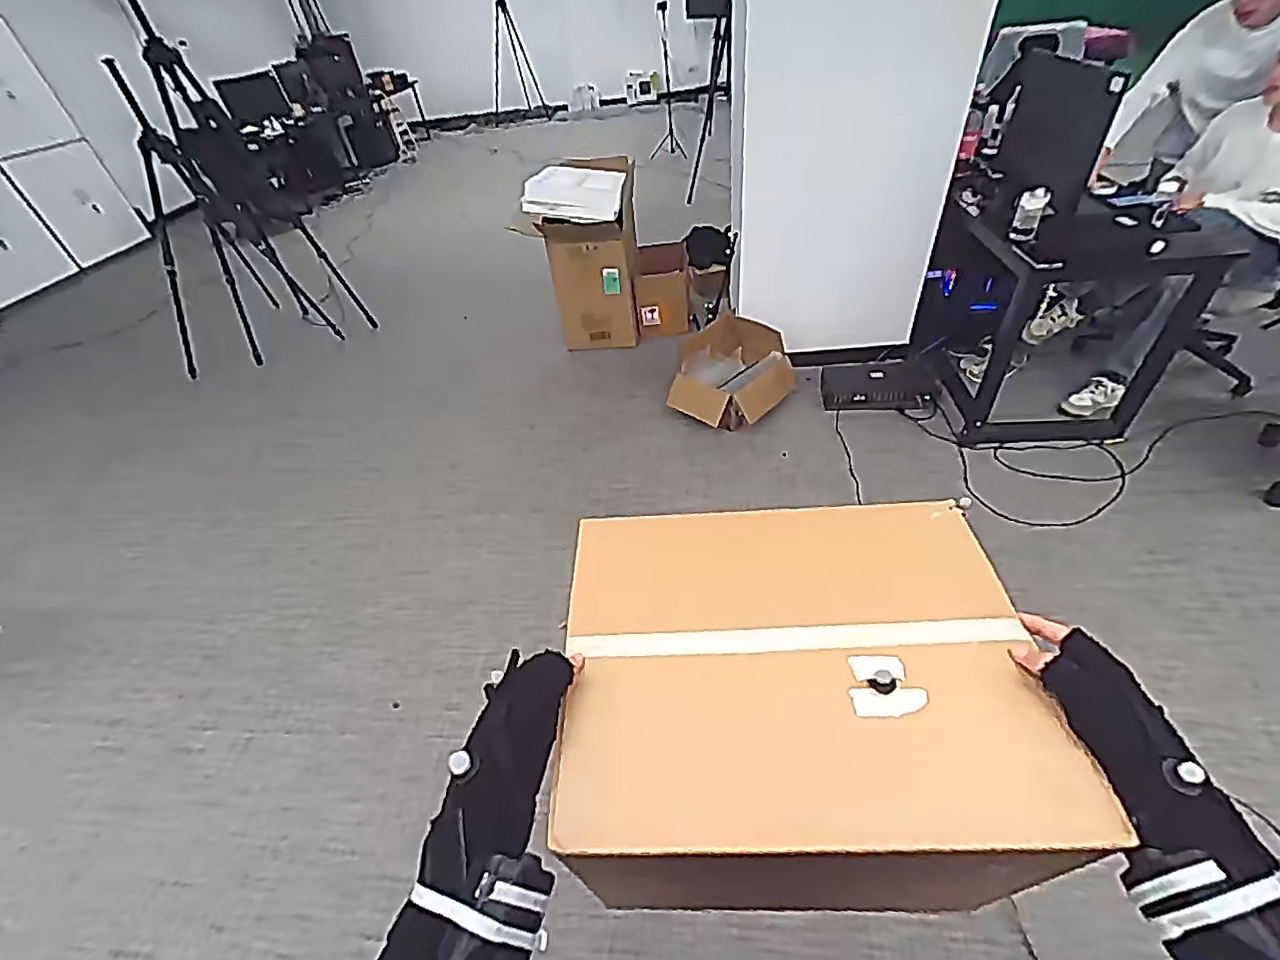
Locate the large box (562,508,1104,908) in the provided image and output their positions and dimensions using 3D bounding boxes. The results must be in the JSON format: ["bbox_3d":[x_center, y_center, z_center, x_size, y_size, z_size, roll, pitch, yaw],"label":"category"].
[{"bbox_3d":[0.147,0.257,0.604,0.408,0.320,0.320,-3,45,4],"label":"large box"}]
